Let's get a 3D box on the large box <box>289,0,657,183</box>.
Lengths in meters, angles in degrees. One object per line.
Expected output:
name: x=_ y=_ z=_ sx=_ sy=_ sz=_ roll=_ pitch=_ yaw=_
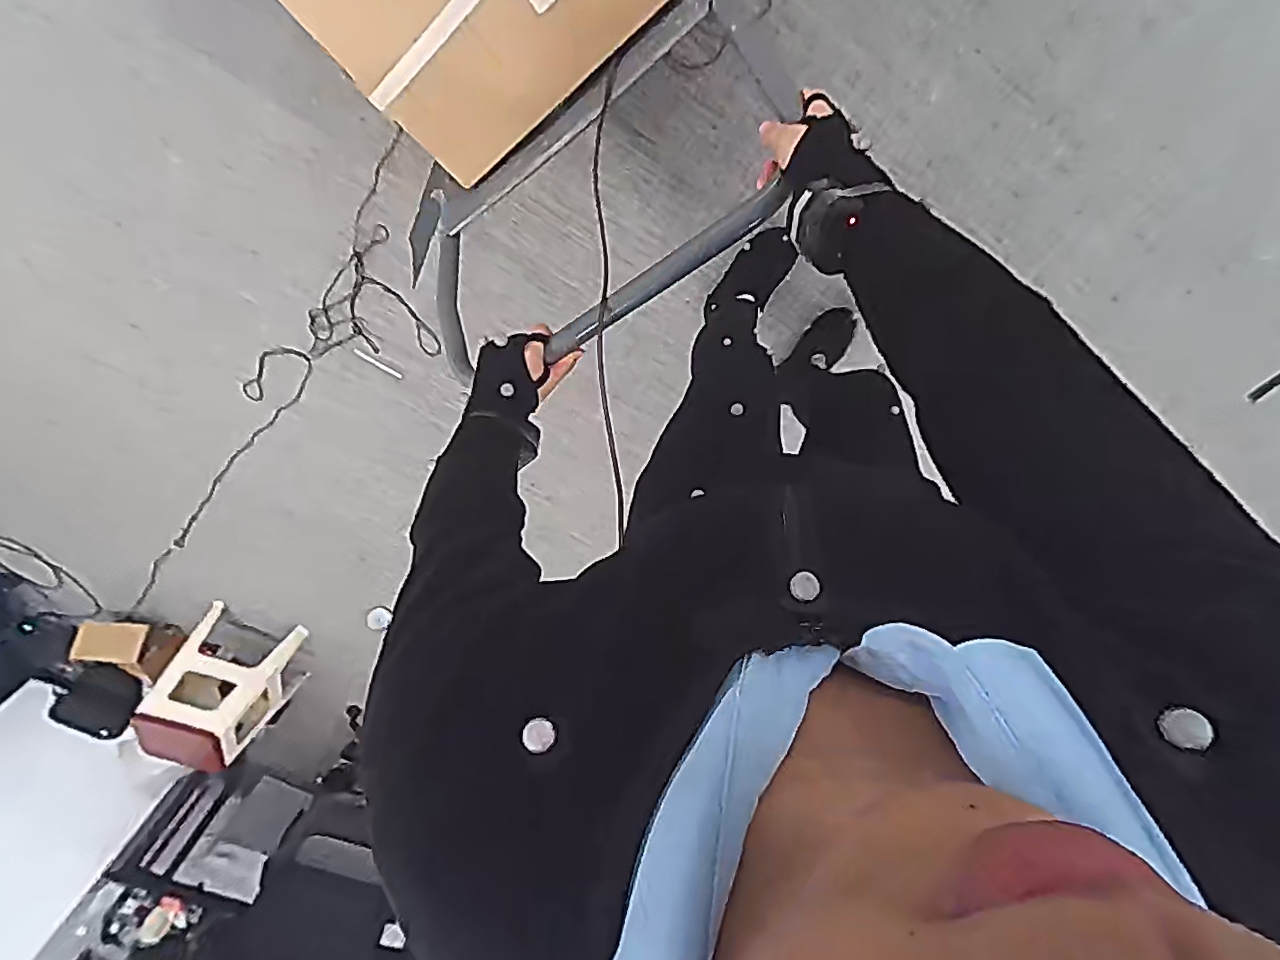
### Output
large box: x=-0.213 y=-0.731 z=0.753 sx=0.408 sy=0.320 sz=0.320 roll=-29 pitch=139 yaw=24
